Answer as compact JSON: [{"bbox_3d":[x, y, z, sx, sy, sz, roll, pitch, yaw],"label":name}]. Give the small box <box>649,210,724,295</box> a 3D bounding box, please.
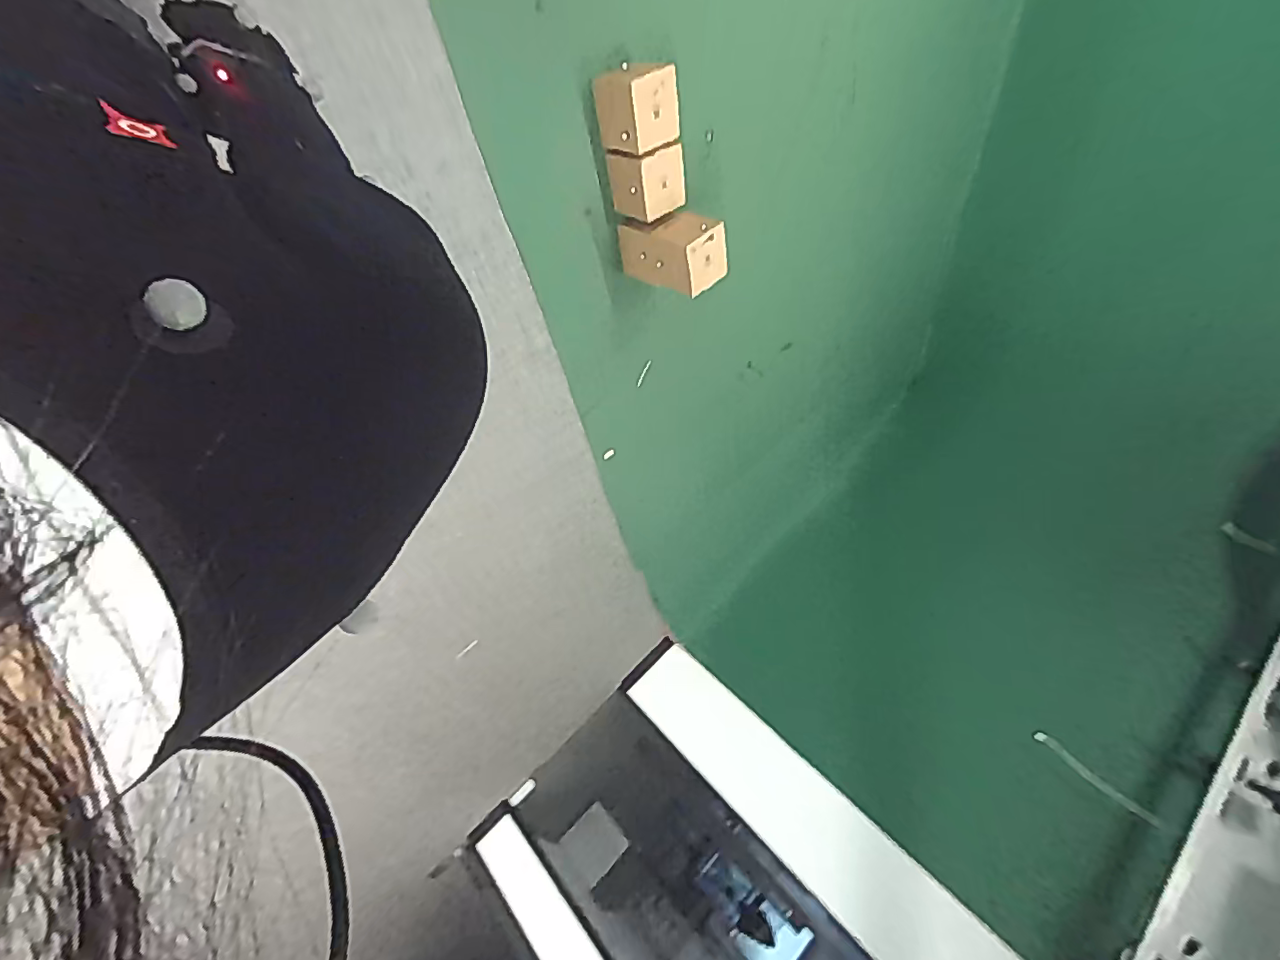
[{"bbox_3d":[0.150,-0.728,1.722,0.168,0.176,0.179,-40,144,-20],"label":"small box"}]
